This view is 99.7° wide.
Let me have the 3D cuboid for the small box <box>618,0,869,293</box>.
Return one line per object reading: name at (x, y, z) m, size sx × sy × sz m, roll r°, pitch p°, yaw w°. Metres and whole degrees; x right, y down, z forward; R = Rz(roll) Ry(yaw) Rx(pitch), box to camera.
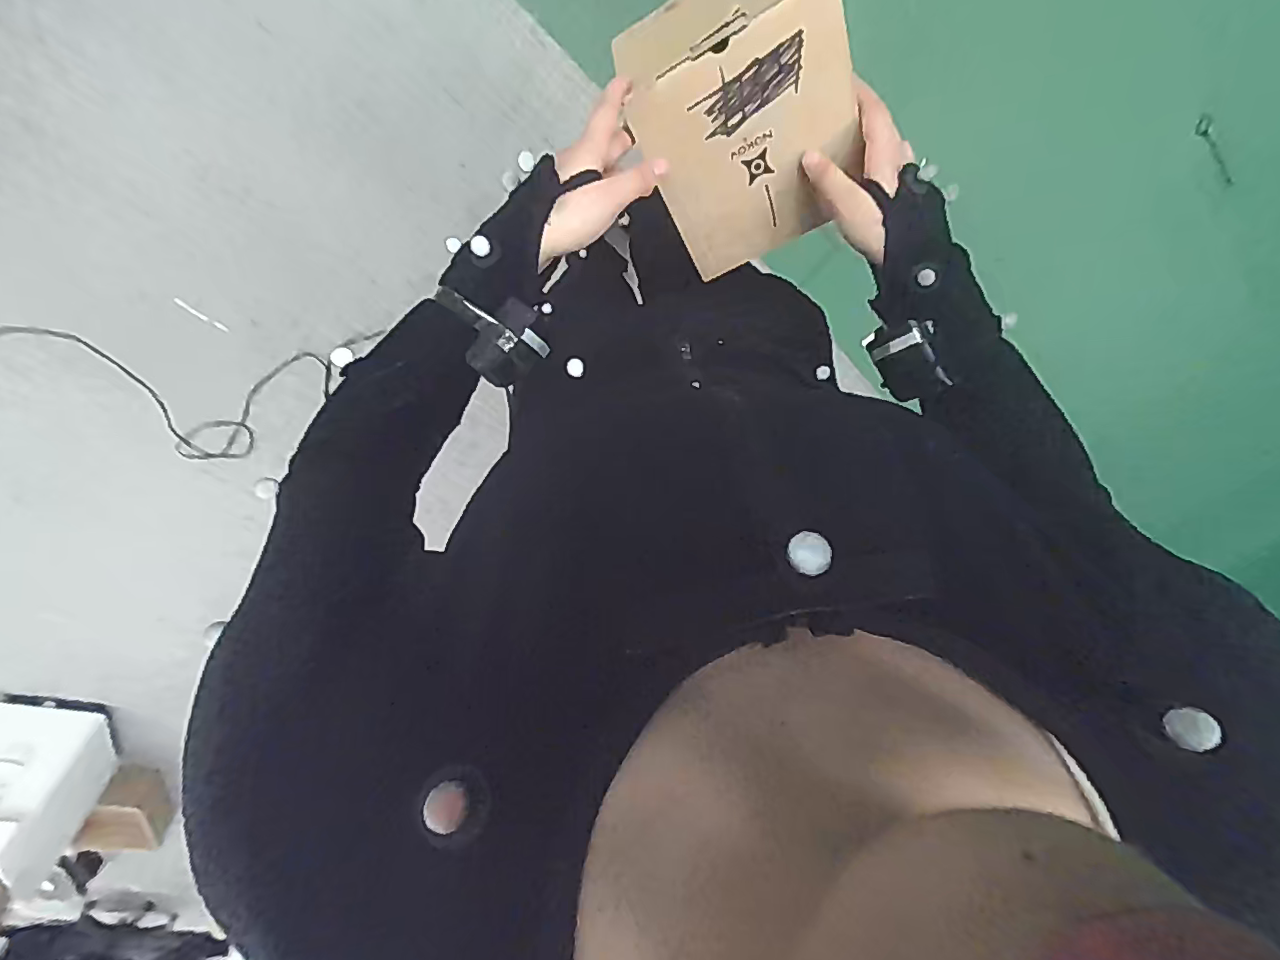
small box at (0.089, -0.318, 0.497) m, size 0.168 × 0.176 × 0.179 m, roll -20°, pitch 140°, yaw 20°
